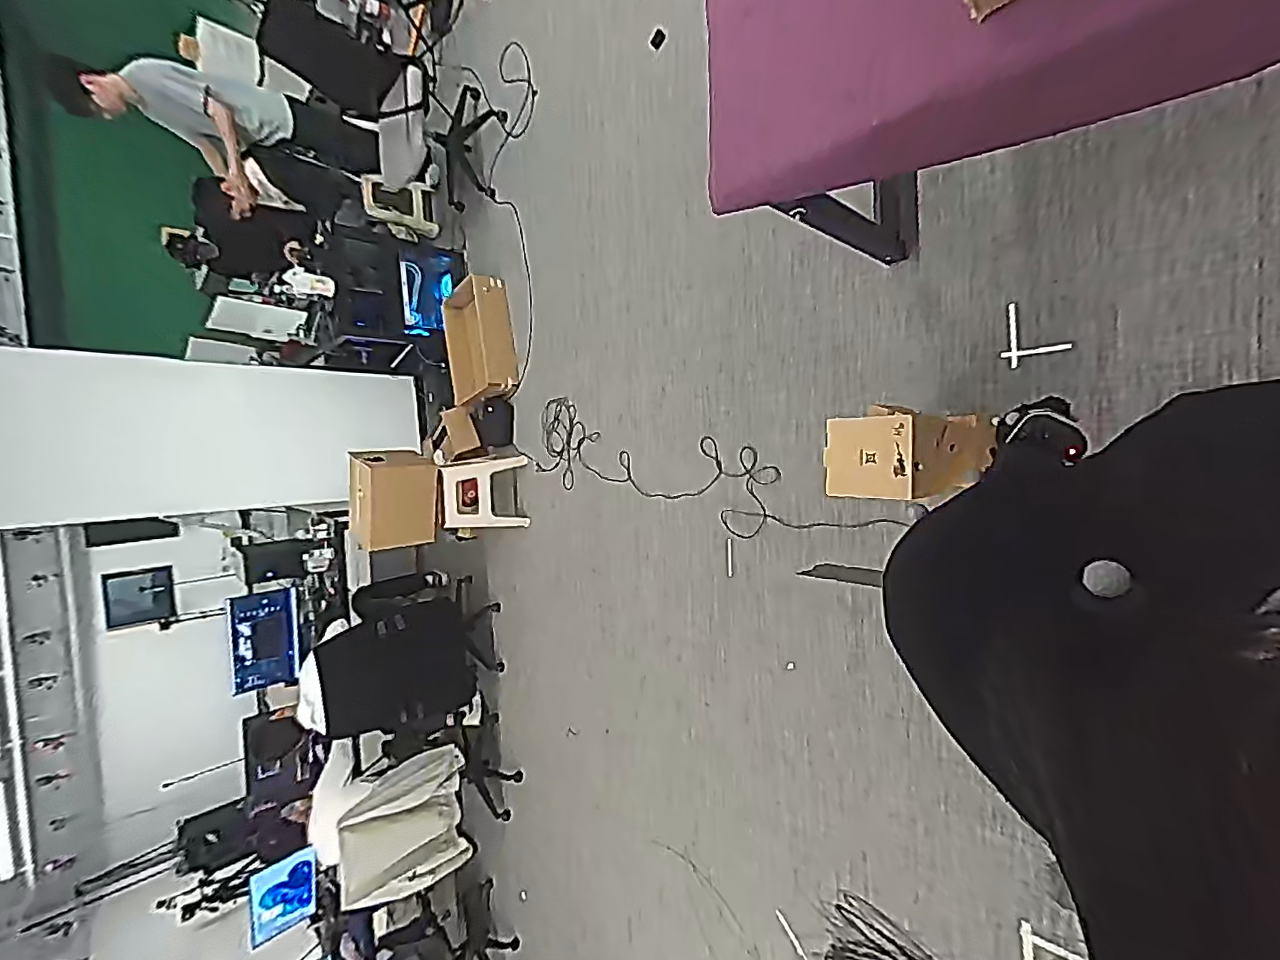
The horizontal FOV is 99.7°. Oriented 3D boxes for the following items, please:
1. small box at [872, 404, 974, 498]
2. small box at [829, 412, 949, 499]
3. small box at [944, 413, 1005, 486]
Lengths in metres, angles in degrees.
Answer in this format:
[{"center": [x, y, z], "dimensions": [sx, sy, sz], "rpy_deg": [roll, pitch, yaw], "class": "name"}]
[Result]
[{"center": [0.628, -0.072, 1.237], "dimensions": [0.179, 0.176, 0.168], "rpy_deg": [29, 114, 43], "class": "small box"}, {"center": [0.514, -0.053, 1.120], "dimensions": [0.179, 0.176, 0.168], "rpy_deg": [3, 96, 47], "class": "small box"}, {"center": [0.767, -0.076, 1.325], "dimensions": [0.179, 0.176, 0.168], "rpy_deg": [3, 97, 47], "class": "small box"}]
